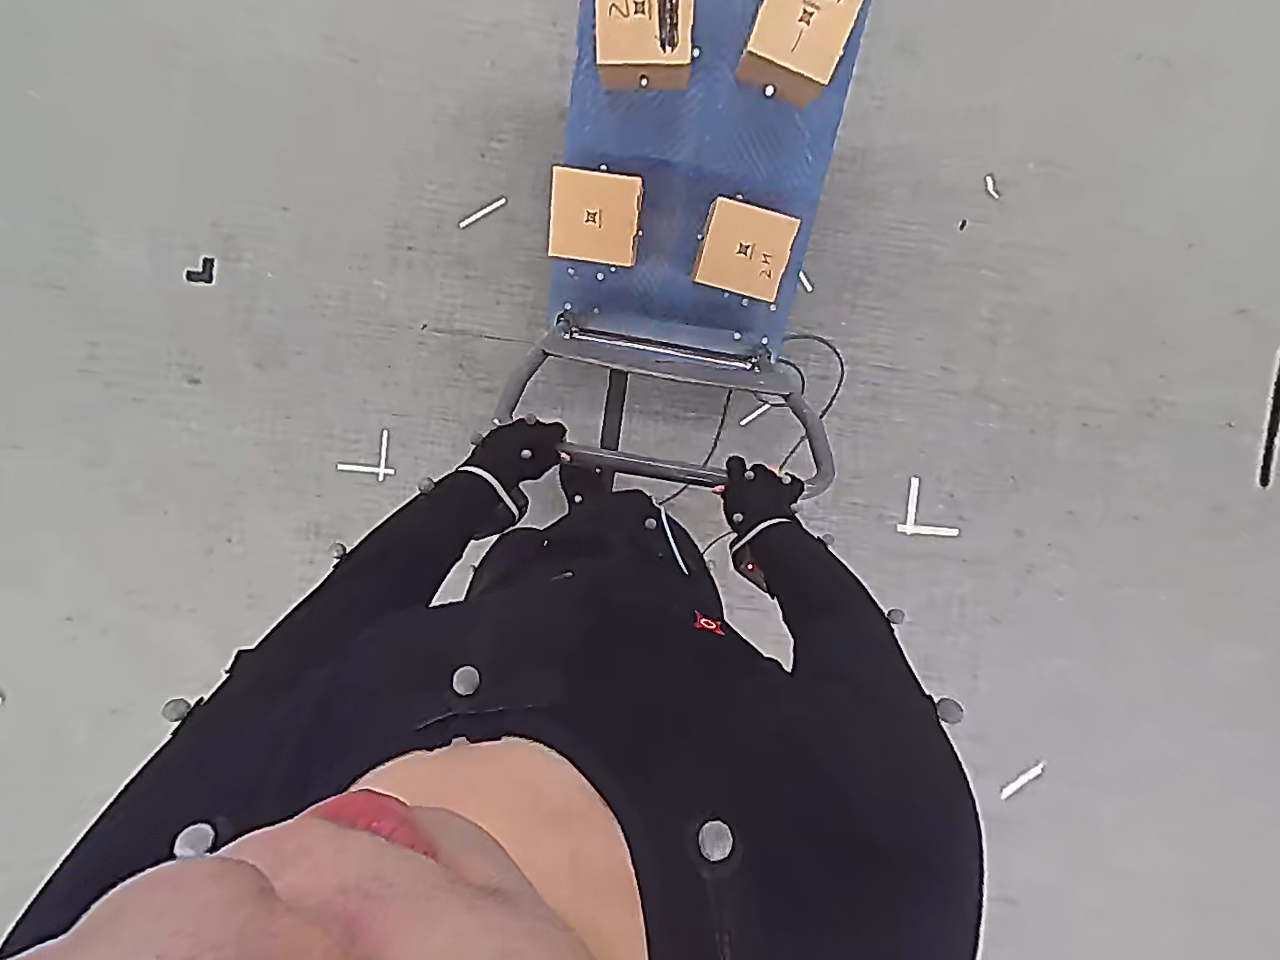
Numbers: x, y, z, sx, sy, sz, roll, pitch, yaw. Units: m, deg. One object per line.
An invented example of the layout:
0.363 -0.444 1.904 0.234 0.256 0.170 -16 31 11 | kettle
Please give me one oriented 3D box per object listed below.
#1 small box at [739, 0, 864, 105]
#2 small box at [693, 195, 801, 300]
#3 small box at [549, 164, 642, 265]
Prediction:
0.301 -0.858 1.028 0.168 0.176 0.179 20 112 -6 | small box
0.220 -0.498 1.174 0.179 0.176 0.168 14 112 -4 | small box
-0.091 -0.559 1.158 0.179 0.176 0.168 6 112 -3 | small box
